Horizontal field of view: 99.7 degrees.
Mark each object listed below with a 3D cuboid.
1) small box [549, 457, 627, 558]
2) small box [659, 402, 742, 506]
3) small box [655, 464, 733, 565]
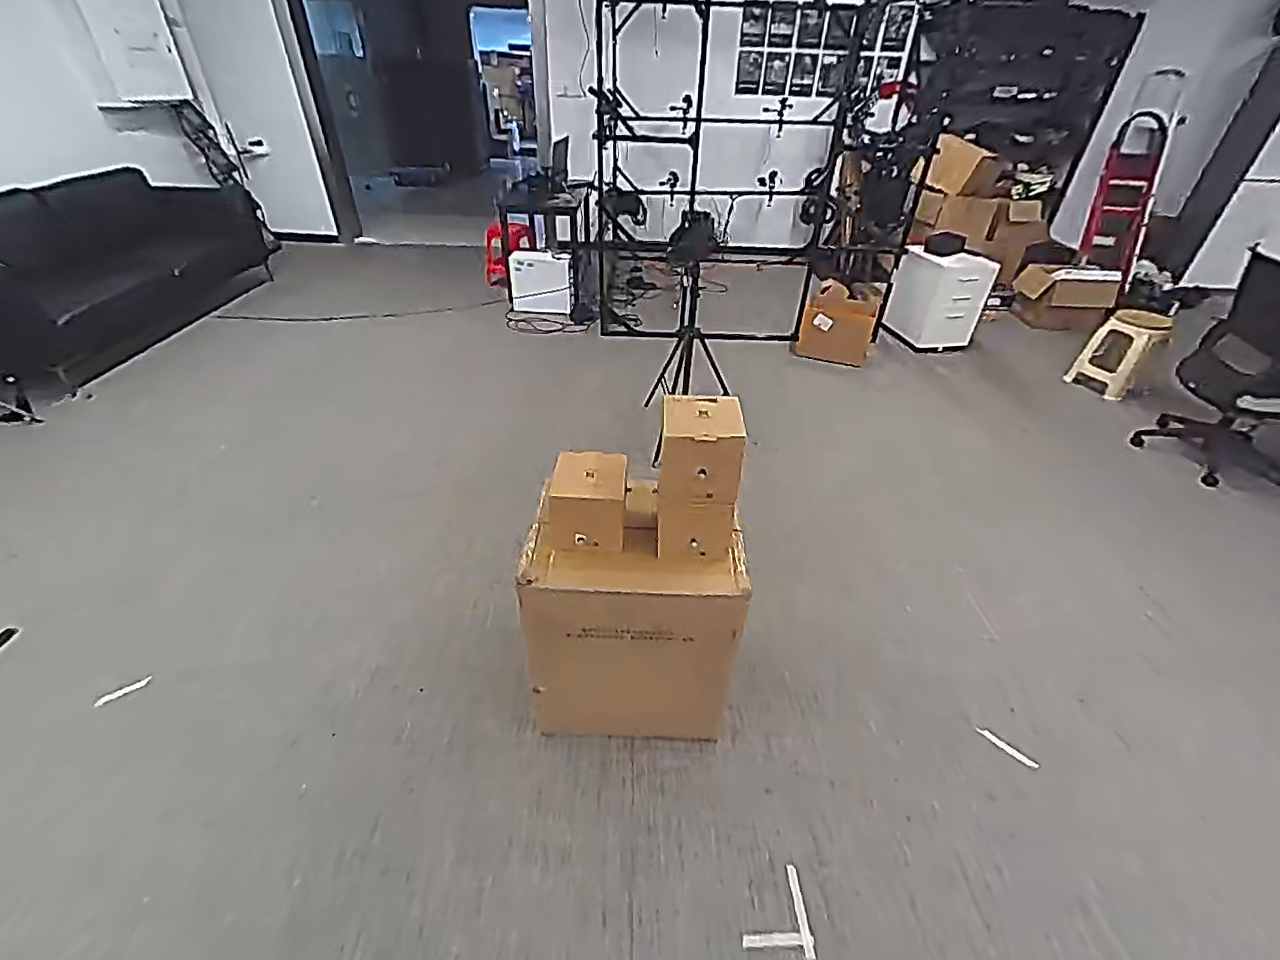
[{"bbox_3d":[-0.118,0.065,1.289,0.168,0.176,0.179,1,37,0],"label":"small box"},{"bbox_3d":[0.127,-0.056,1.184,0.168,0.176,0.179,1,37,2],"label":"small box"},{"bbox_3d":[0.121,0.078,1.278,0.168,0.176,0.179,1,37,1],"label":"small box"}]
